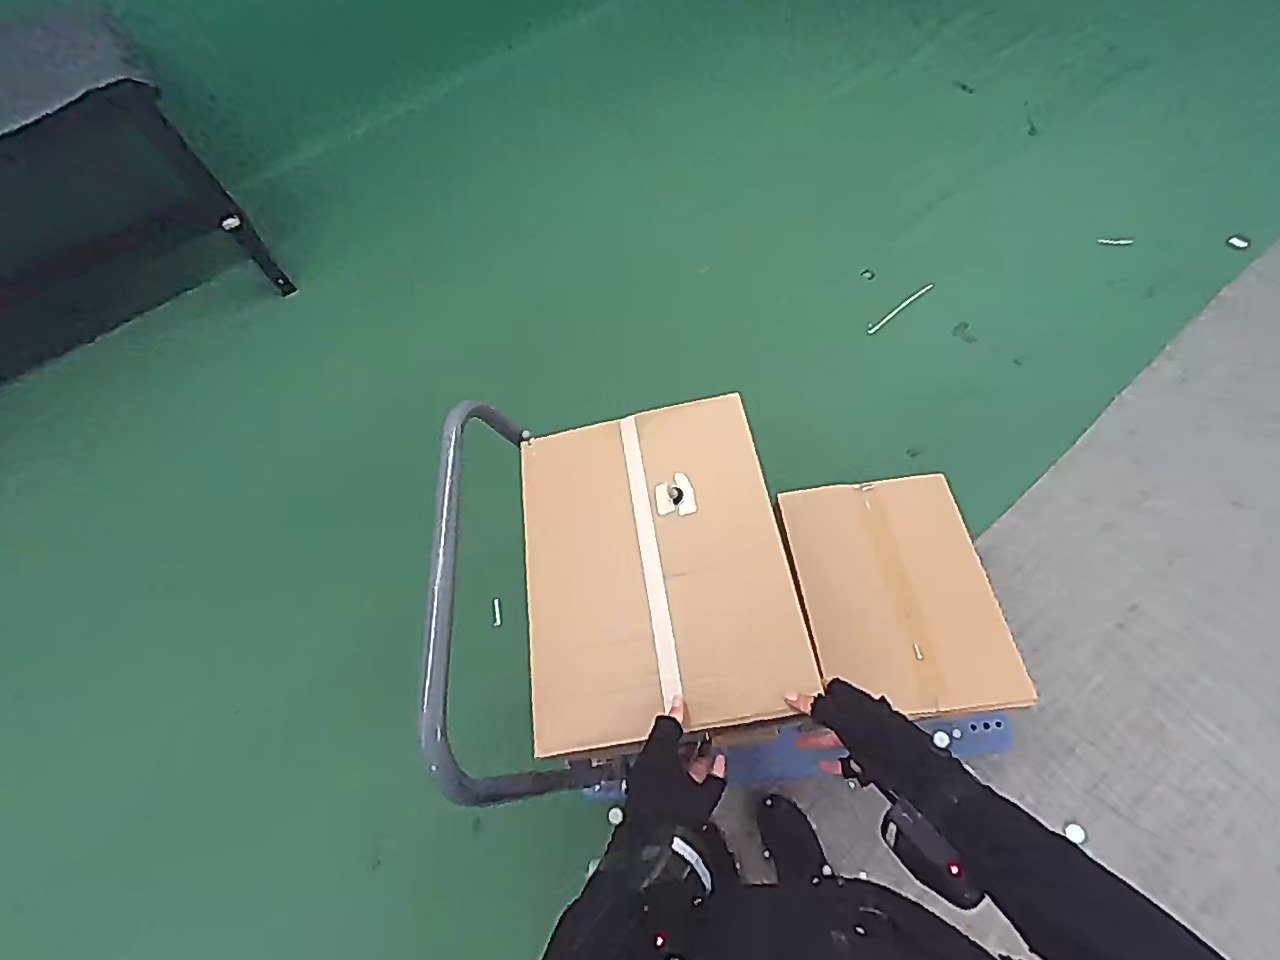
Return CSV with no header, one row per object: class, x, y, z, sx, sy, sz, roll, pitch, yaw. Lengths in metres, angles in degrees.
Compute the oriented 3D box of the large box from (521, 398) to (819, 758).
large box,0.036,0.157,0.787,0.320,0.320,0.408,-12,61,5
